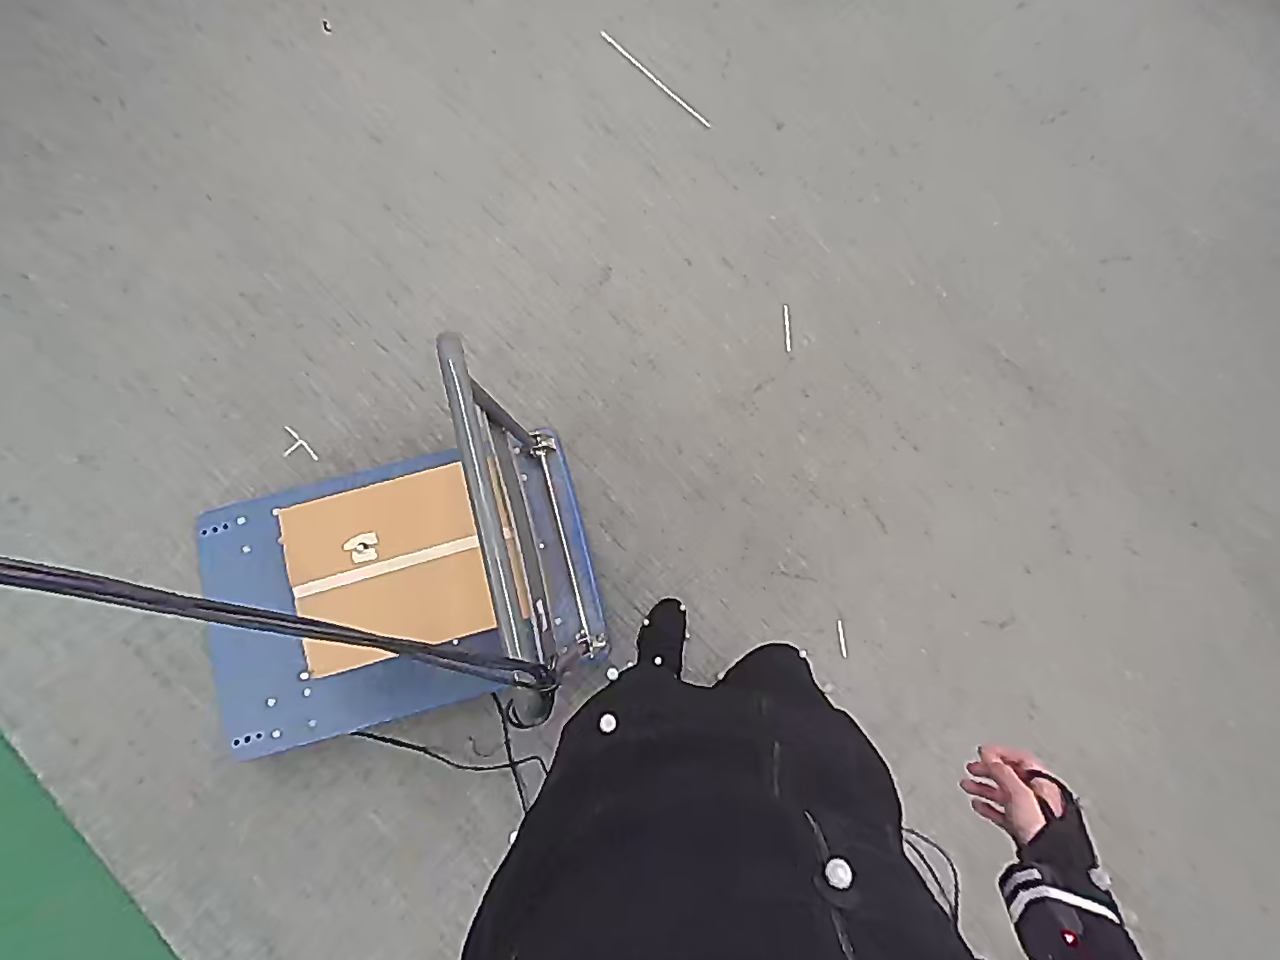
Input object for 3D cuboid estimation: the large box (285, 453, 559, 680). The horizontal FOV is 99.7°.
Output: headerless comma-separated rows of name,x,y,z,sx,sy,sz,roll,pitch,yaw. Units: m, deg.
large box,-0.417,0.169,1.123,0.408,0.320,0.320,-16,82,-3
